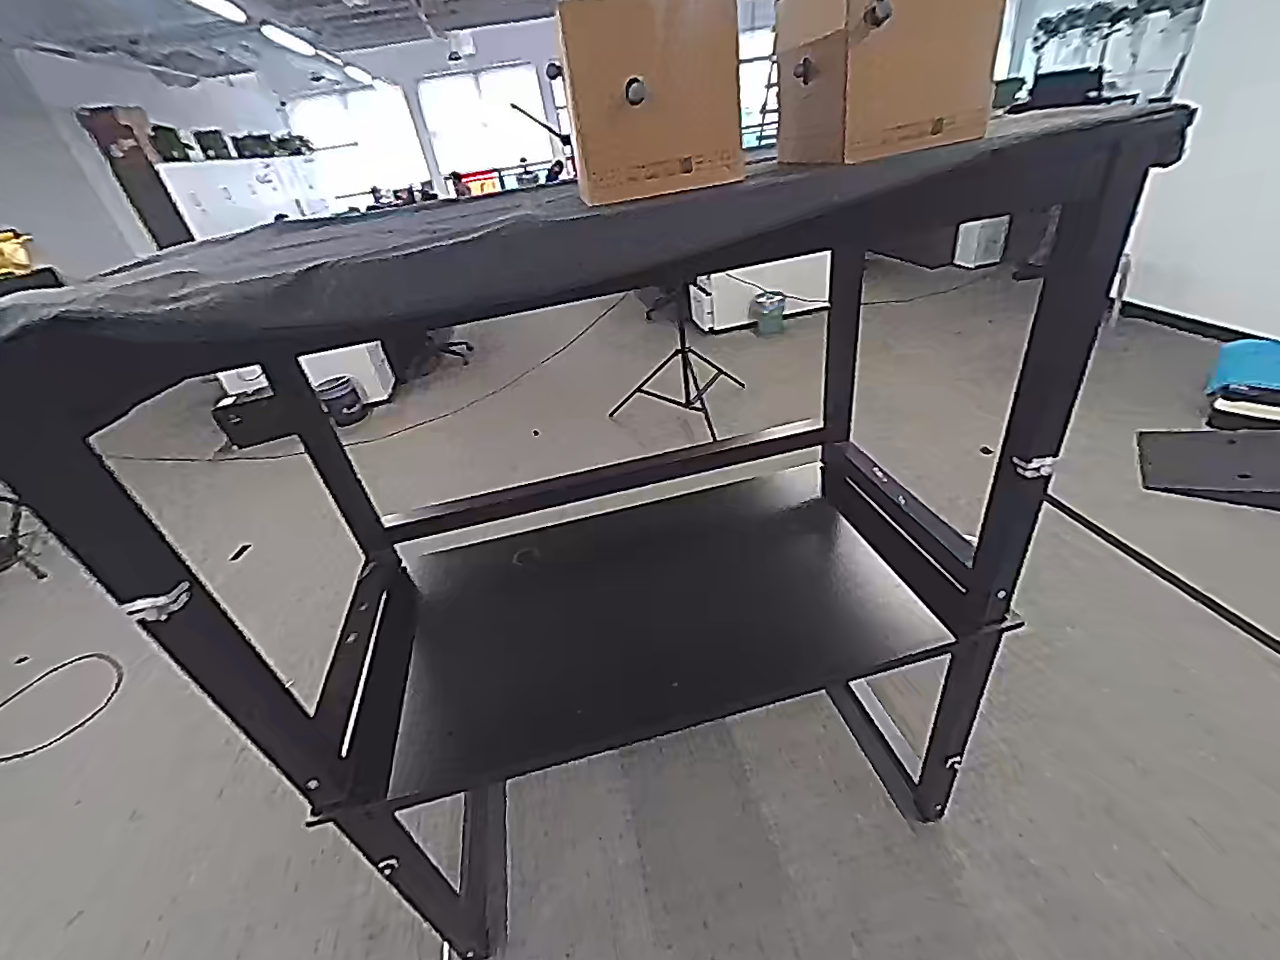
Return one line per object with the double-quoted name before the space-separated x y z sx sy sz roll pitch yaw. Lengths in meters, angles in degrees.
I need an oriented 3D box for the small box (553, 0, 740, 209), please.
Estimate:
"small box" 0.005 -0.402 0.587 0.168 0.176 0.179 -12 31 -3
